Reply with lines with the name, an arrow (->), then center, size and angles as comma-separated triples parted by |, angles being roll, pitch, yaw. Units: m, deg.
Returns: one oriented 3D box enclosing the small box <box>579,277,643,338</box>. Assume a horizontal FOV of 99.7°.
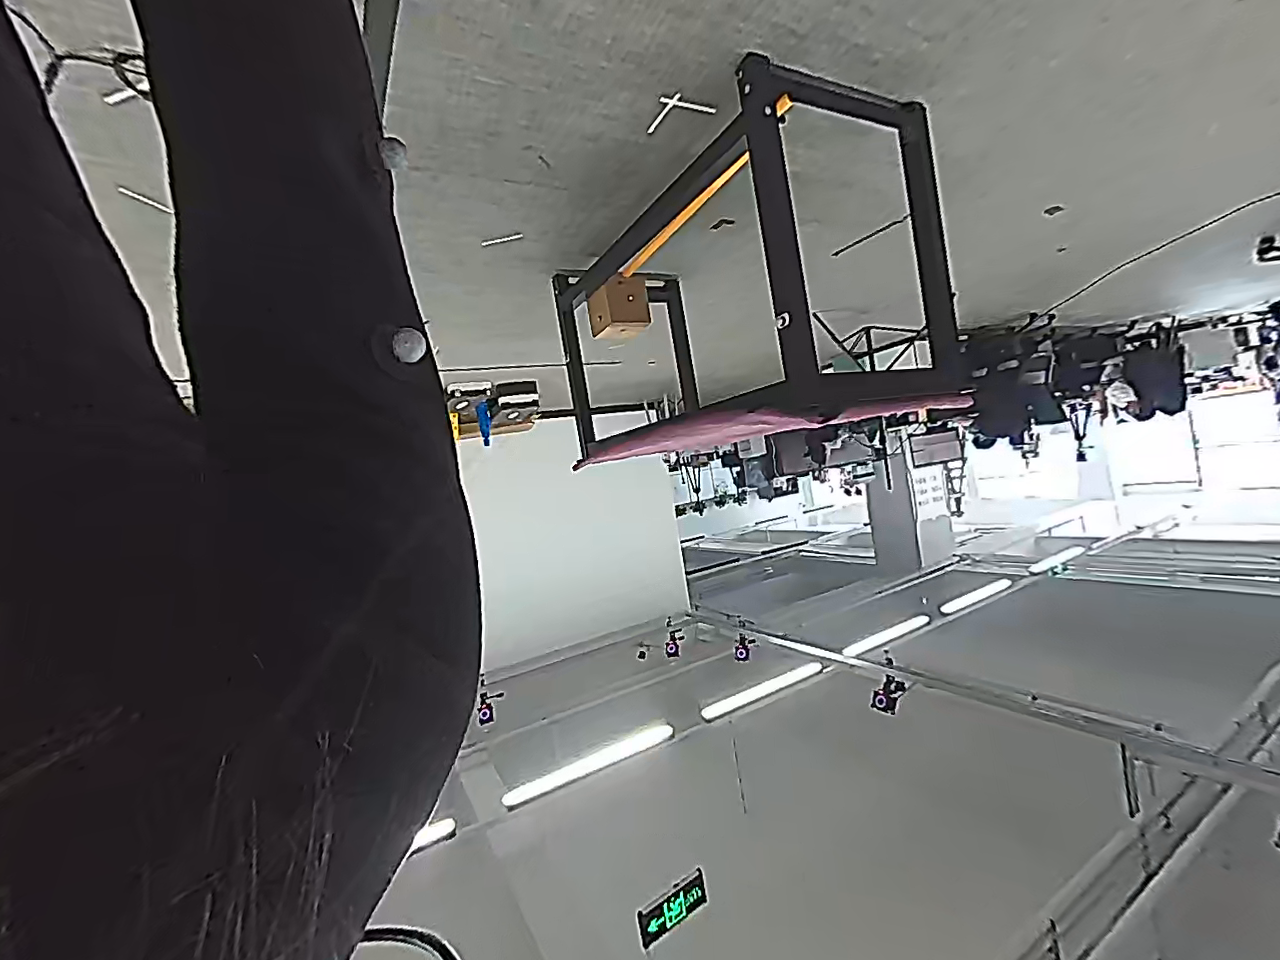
small box -> -0.112, -0.633, 1.984 | 0.168, 0.176, 0.179 | -9, 179, -29
